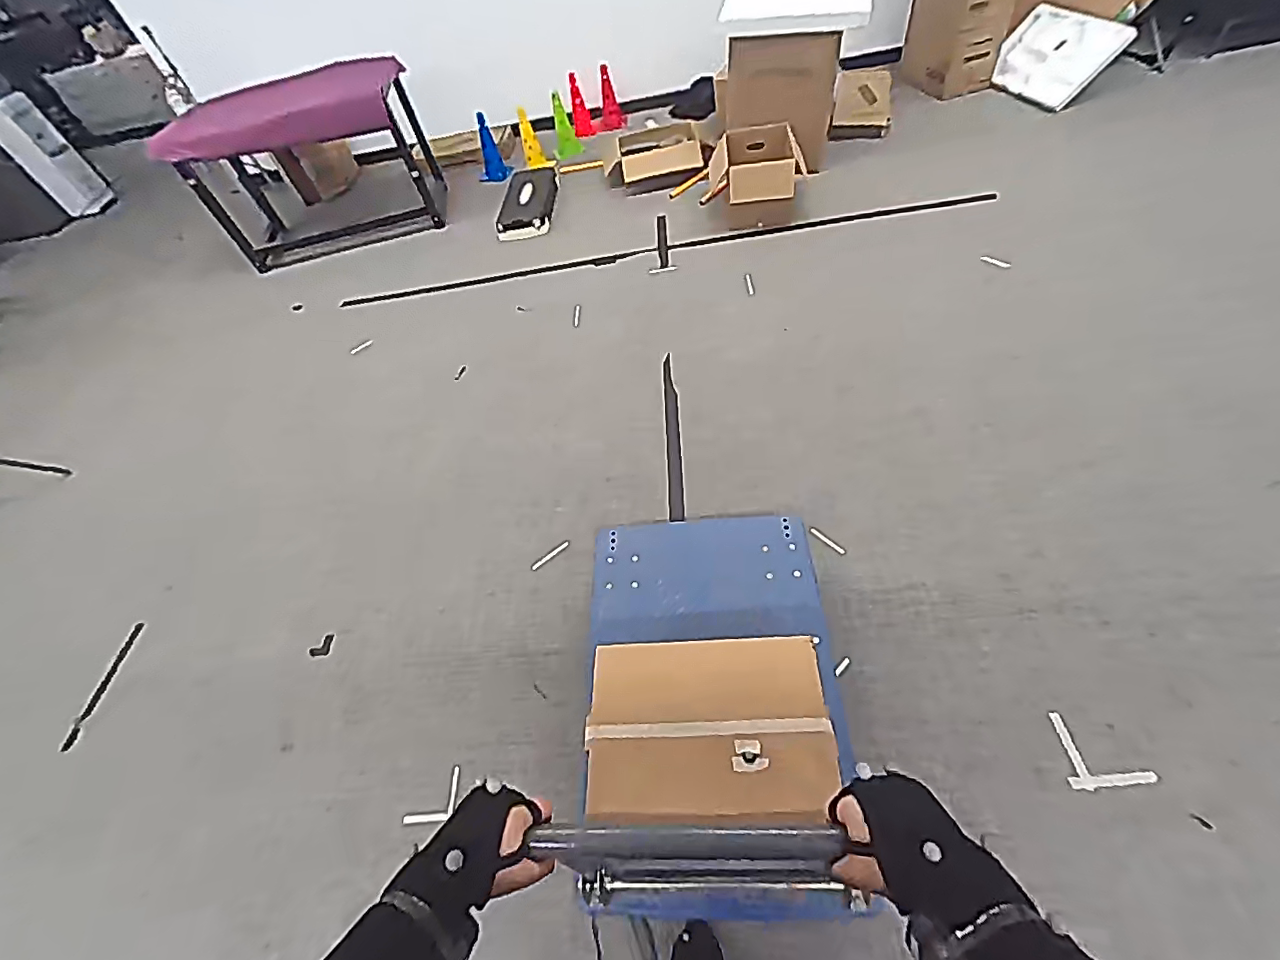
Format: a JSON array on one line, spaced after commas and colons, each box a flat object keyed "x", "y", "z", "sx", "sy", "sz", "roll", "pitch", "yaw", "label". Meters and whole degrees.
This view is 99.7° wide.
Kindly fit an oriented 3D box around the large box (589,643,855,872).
[{"x": 0.135, "y": 0.523, "z": 1.006, "sx": 0.408, "sy": 0.320, "sz": 0.320, "roll": -5, "pitch": 51, "yaw": 6, "label": "large box"}]
